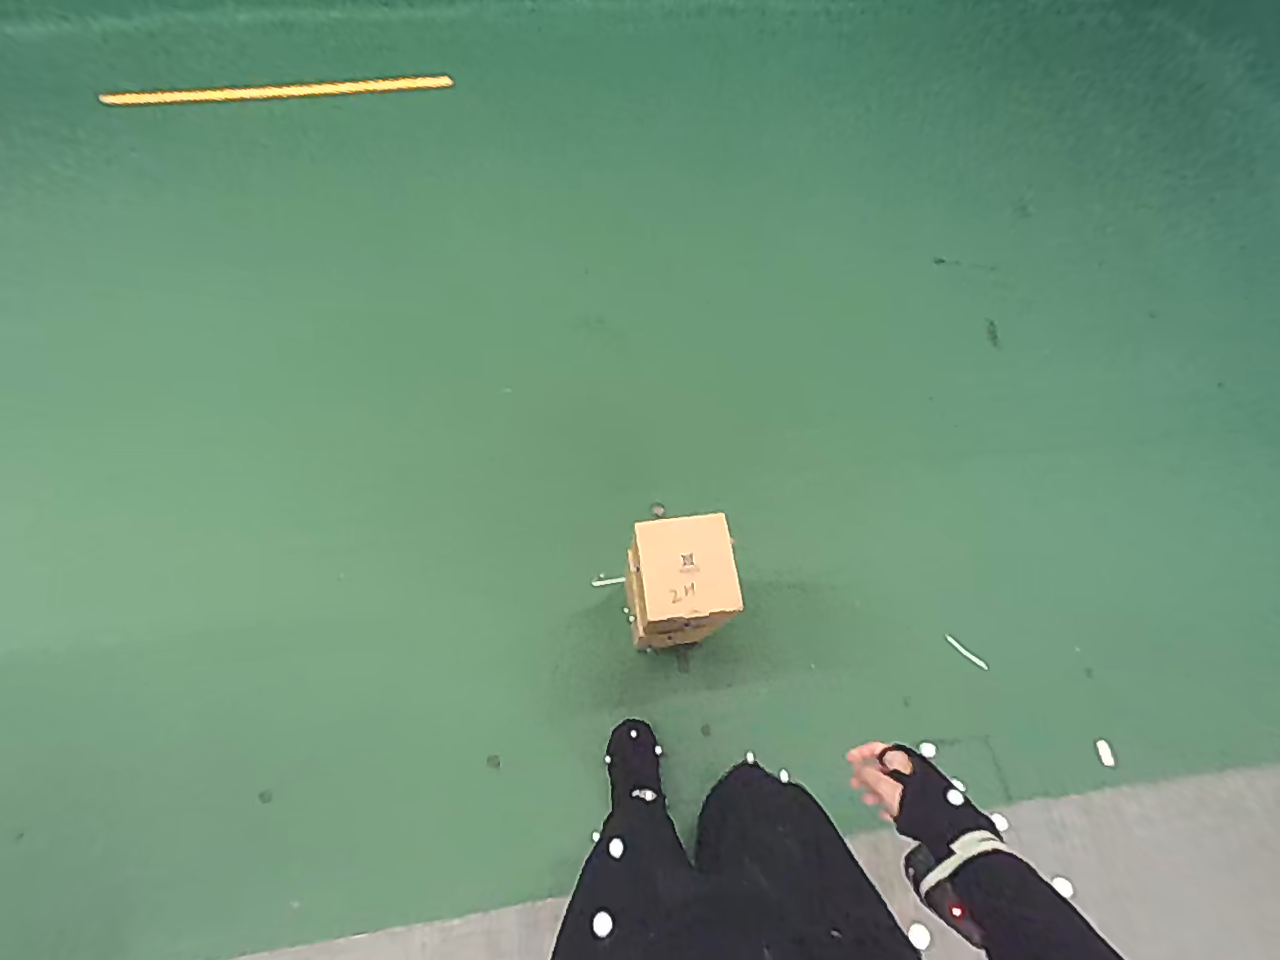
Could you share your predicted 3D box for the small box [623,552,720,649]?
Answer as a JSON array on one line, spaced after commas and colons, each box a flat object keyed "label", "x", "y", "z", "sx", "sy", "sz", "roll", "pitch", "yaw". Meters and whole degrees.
[{"label": "small box", "x": 0.058, "y": 0.251, "z": 1.146, "sx": 0.168, "sy": 0.176, "sz": 0.179, "roll": -6, "pitch": 68, "yaw": -7}]

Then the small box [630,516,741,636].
[{"label": "small box", "x": 0.074, "y": 0.181, "z": 0.997, "sx": 0.168, "sy": 0.176, "sz": 0.179, "roll": -5, "pitch": 68, "yaw": -6}]
